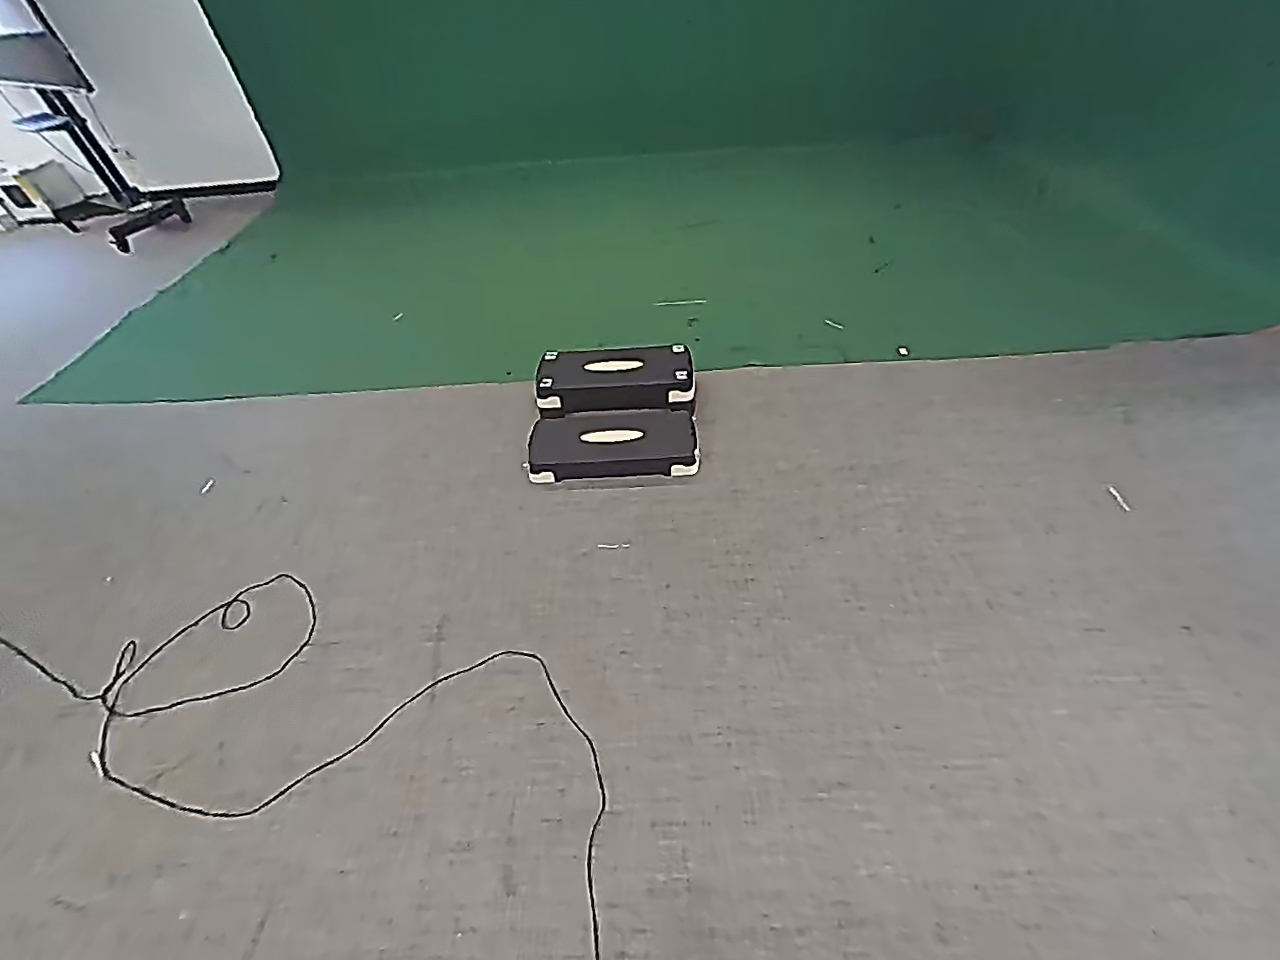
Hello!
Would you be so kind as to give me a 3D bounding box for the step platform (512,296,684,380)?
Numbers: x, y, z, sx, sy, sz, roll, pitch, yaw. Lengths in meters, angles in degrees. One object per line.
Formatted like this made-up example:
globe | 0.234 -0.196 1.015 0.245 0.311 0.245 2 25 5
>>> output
step platform | -0.163 -0.583 2.222 0.684 0.204 0.286 -3 47 3
